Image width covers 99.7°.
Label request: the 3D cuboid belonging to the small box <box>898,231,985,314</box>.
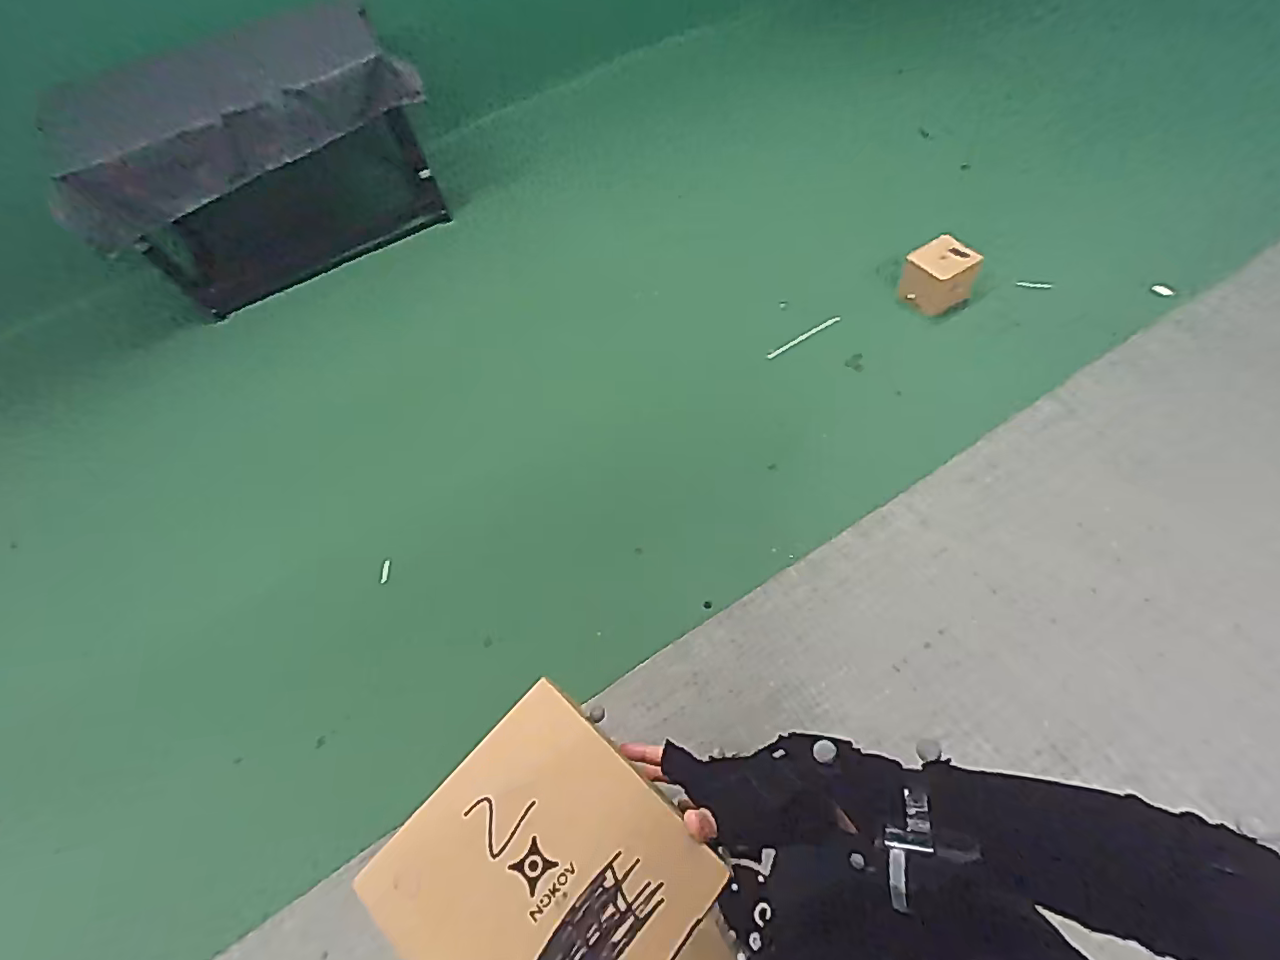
[{"bbox_3d":[1.025,-0.711,1.858,0.179,0.176,0.168,-30,59,-8],"label":"small box"}]
